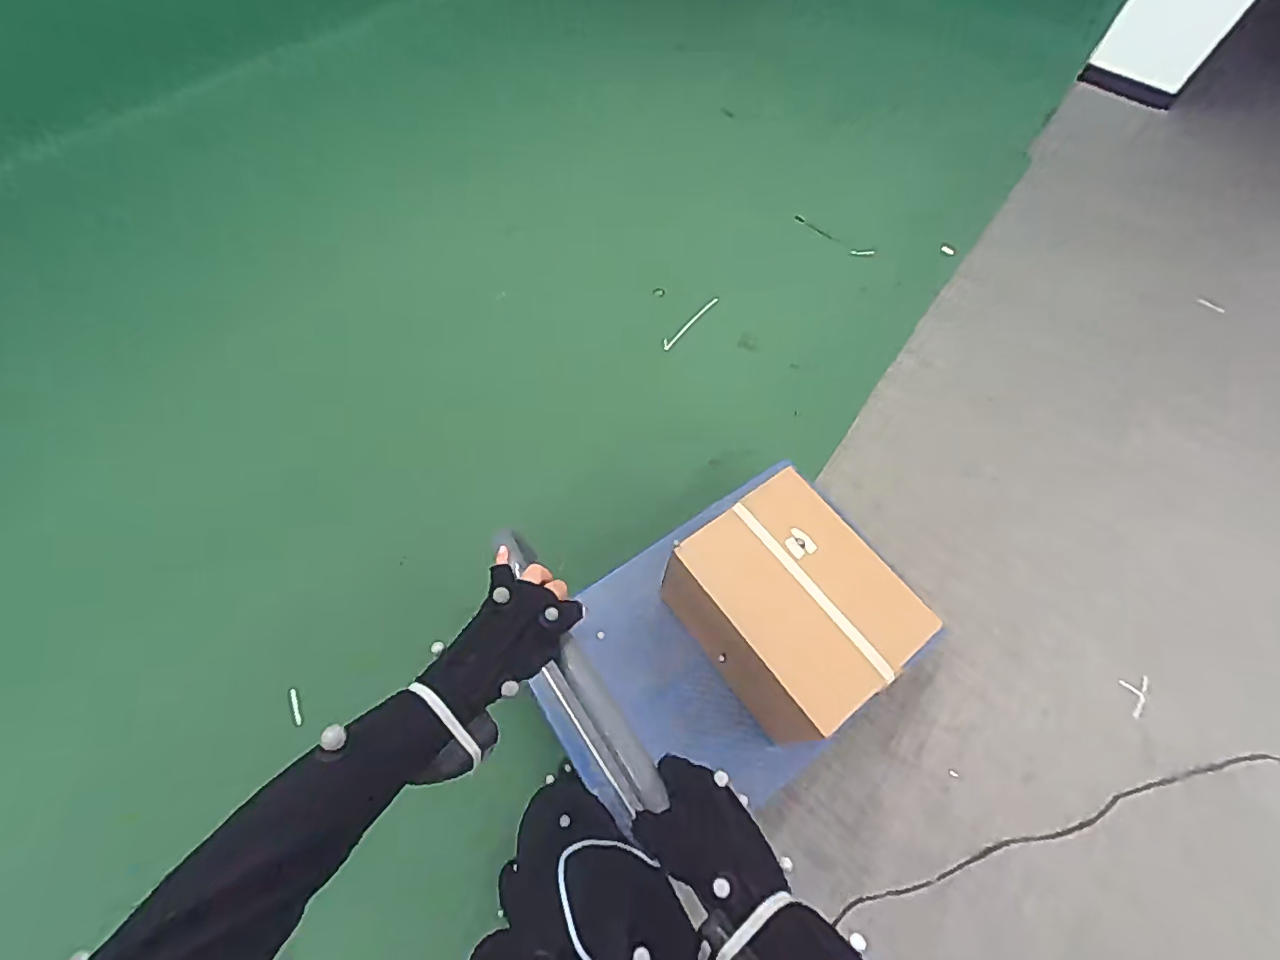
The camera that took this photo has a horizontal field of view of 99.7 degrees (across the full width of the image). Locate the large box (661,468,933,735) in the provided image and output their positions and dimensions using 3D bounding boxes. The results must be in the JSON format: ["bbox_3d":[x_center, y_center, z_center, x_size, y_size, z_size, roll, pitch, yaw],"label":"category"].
[{"bbox_3d":[0.291,0.262,1.136,0.320,0.320,0.408,-32,68,-19],"label":"large box"}]
